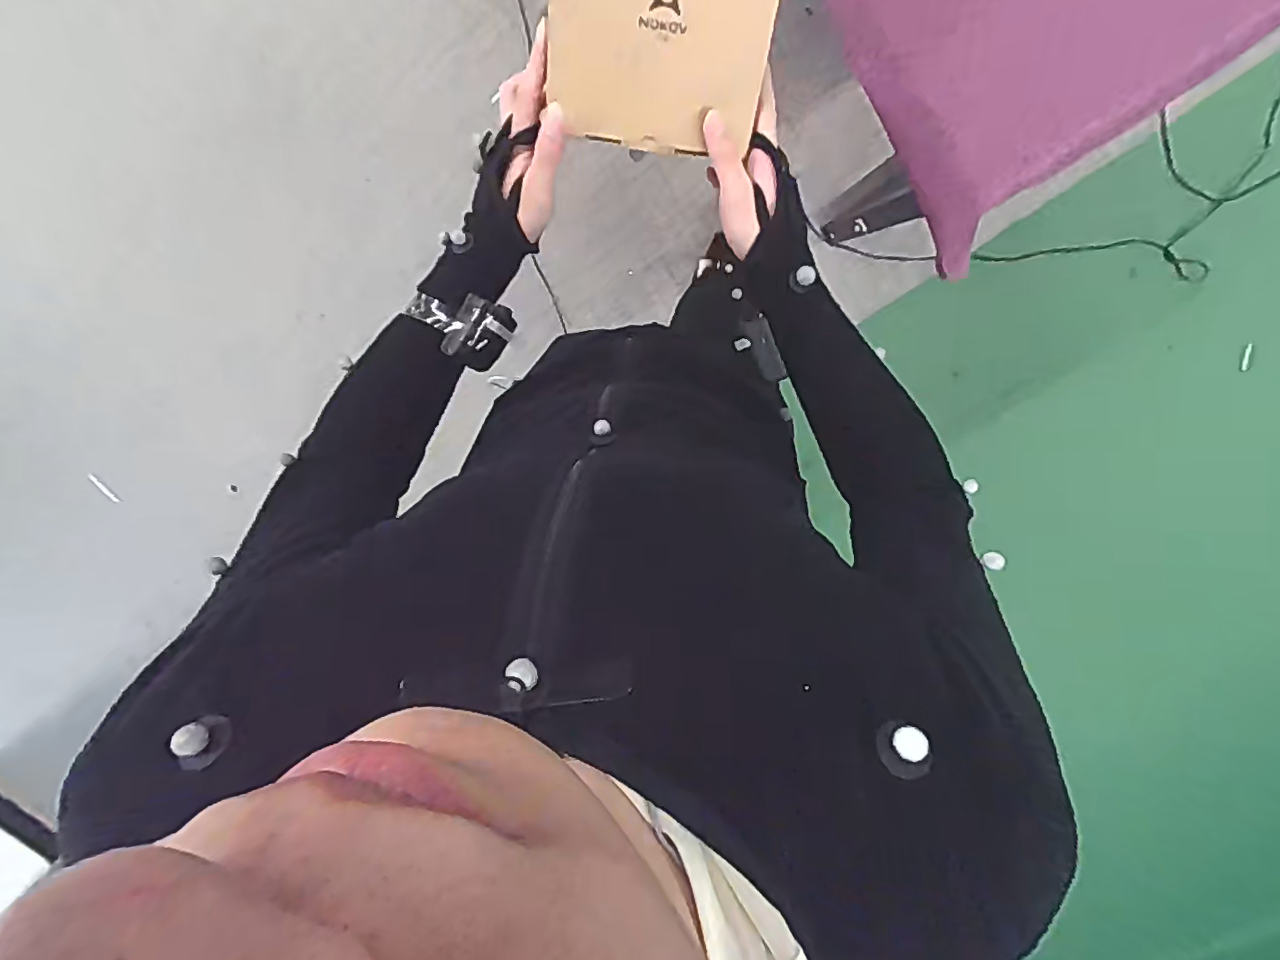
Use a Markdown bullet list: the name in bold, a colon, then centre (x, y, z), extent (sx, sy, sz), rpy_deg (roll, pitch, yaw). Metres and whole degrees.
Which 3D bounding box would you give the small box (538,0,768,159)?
- **small box**: centre (0.006, -0.388, 0.452), extent (0.168, 0.176, 0.179), rpy_deg (3, 126, -7)
